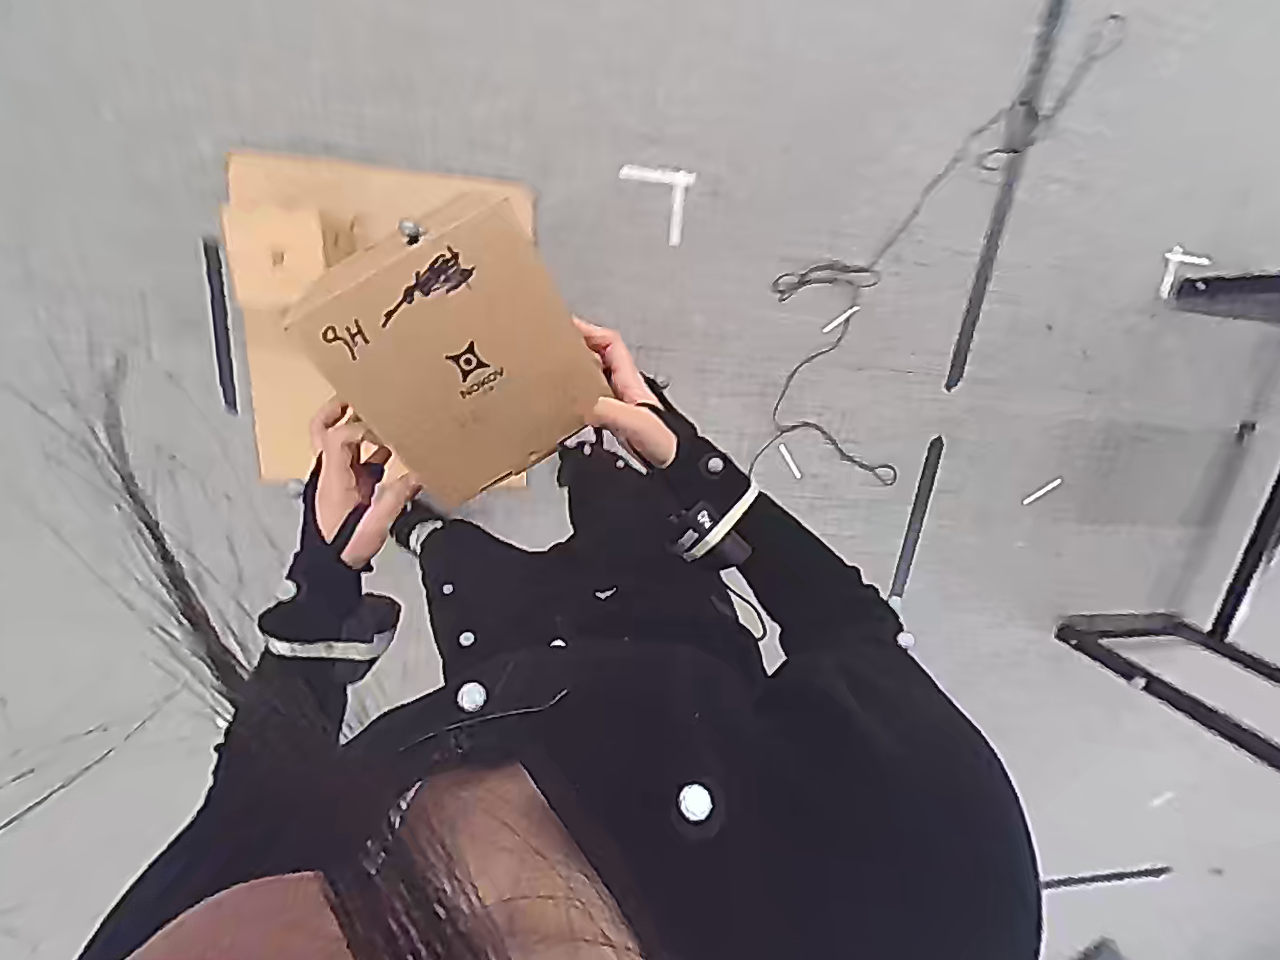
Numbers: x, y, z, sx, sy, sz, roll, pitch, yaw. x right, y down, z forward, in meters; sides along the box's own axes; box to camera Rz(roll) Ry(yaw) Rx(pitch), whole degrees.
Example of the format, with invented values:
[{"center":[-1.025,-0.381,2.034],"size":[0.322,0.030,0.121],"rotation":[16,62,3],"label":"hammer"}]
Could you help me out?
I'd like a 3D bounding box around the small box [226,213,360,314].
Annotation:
[{"center":[-0.689,-0.429,1.095],"size":[0.168,0.176,0.179],"rotation":[-3,107,-8],"label":"small box"}]
